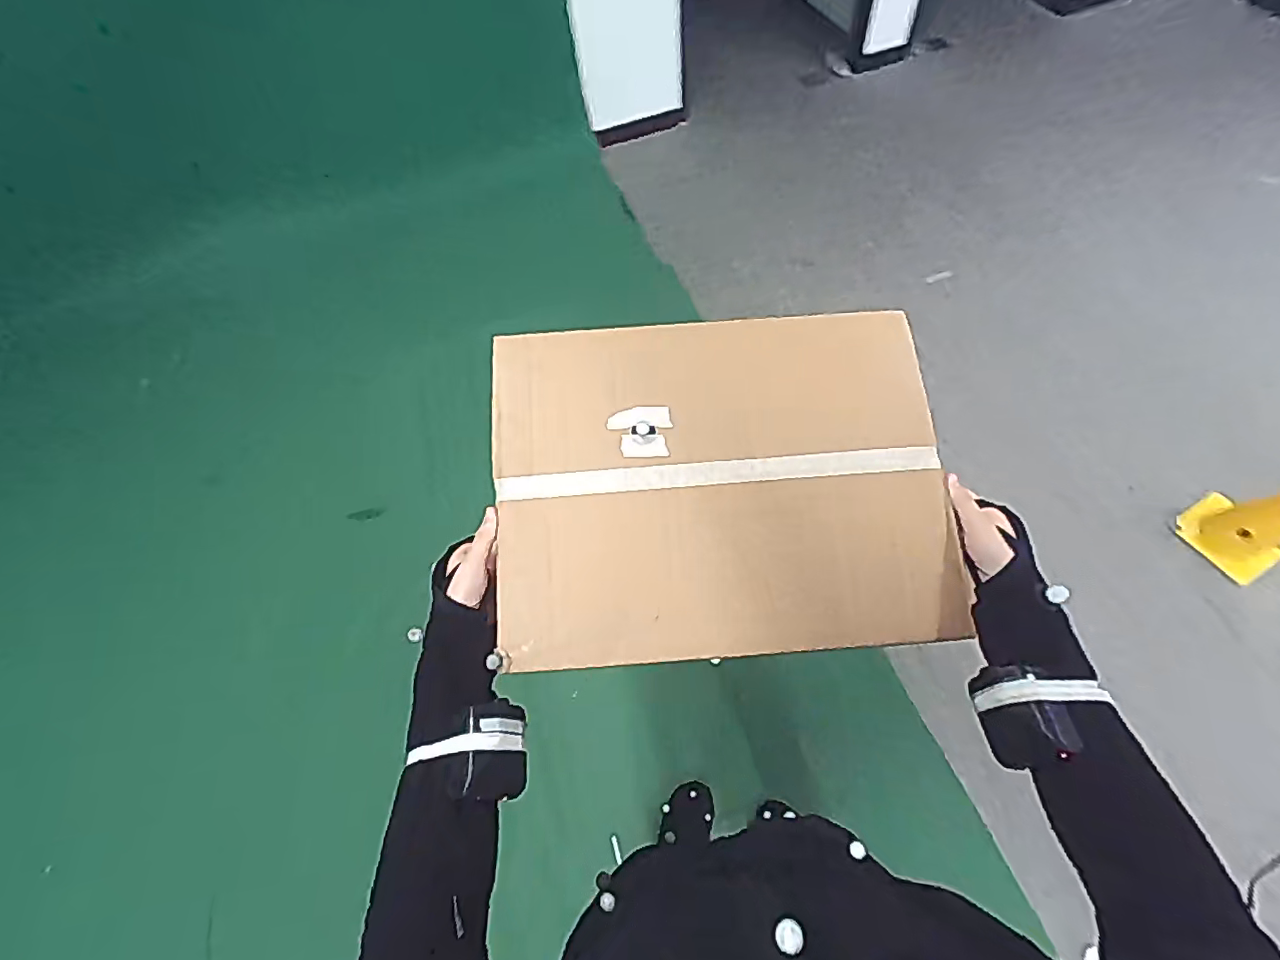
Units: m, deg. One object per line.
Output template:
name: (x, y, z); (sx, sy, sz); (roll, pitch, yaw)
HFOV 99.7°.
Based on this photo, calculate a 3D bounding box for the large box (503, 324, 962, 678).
large box: (0.078, 0.044, 0.649); (0.408, 0.320, 0.320); (-4, 75, 1)
